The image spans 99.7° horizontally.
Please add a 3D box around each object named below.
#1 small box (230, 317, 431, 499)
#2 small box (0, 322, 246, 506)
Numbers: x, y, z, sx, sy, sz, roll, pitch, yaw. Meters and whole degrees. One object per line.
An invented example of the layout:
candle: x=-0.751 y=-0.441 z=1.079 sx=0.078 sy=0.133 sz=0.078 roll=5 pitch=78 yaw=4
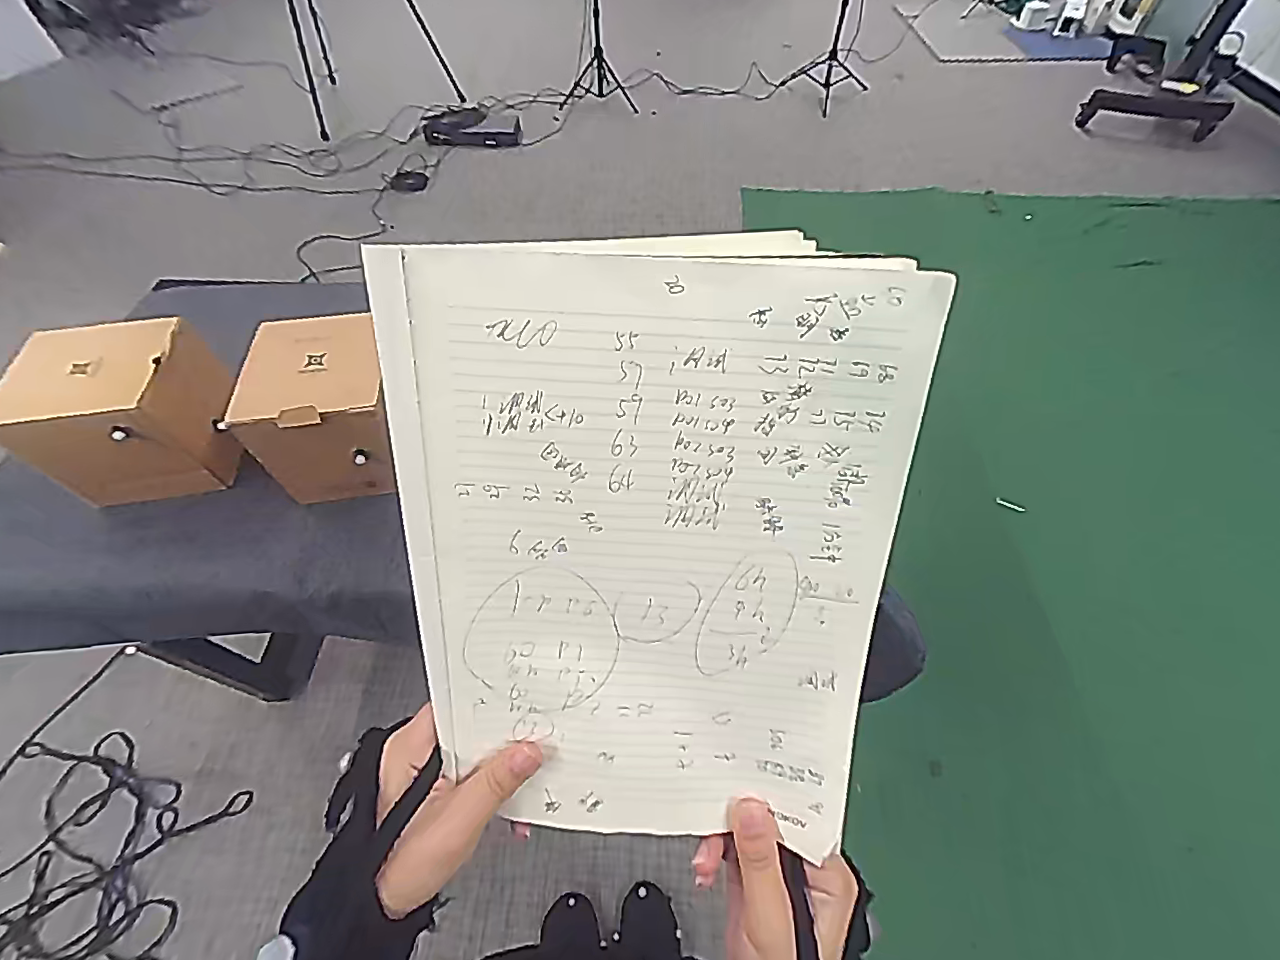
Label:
small box: x=-0.387 y=-0.088 z=0.716 sx=0.168 sy=0.176 sz=0.179 roll=-7 pitch=53 yaw=-6
small box: x=-0.660 y=-0.082 z=0.714 sx=0.179 sy=0.176 sz=0.168 roll=-8 pitch=54 yaw=-7
